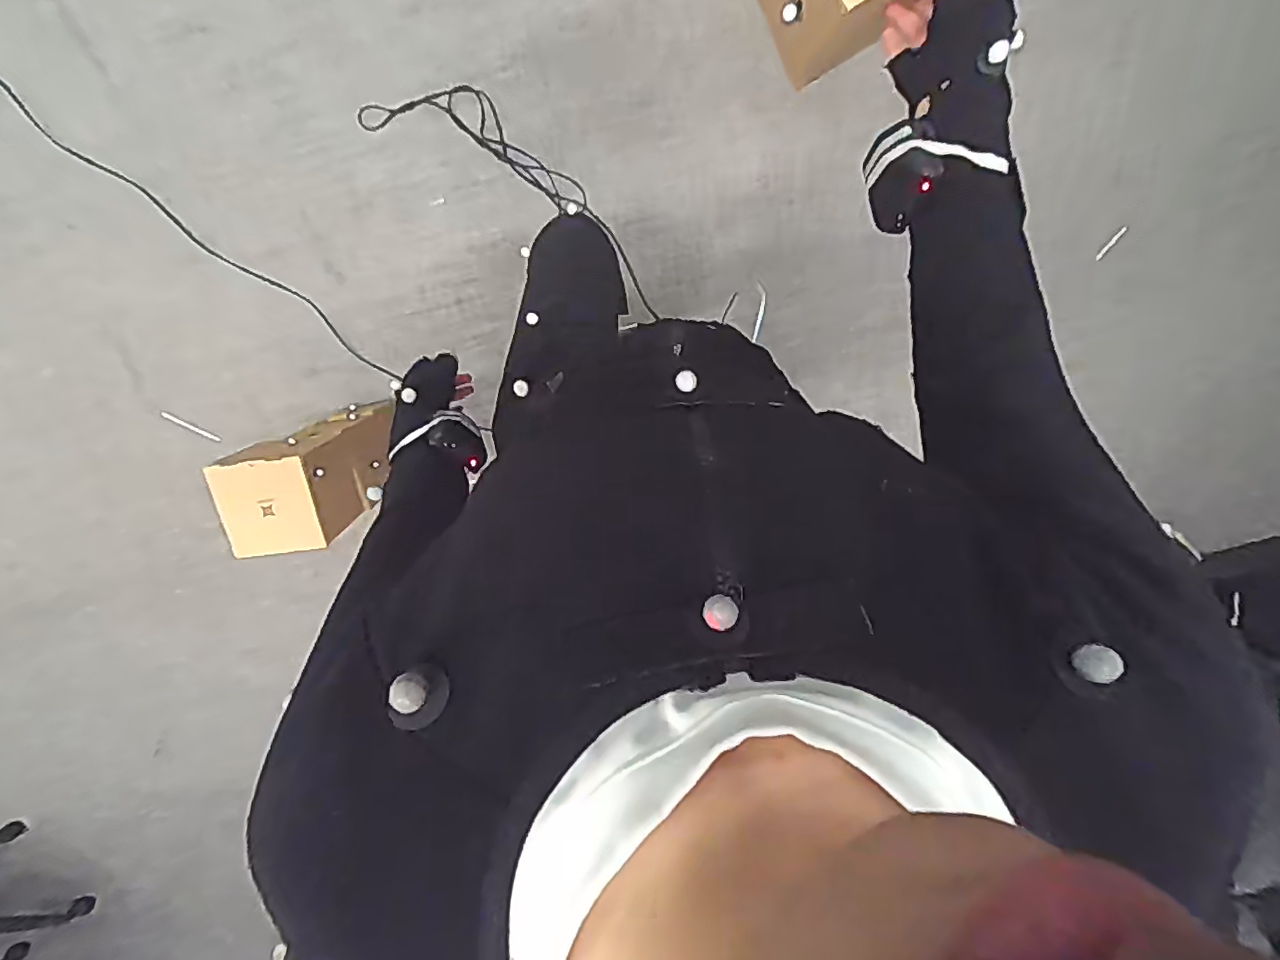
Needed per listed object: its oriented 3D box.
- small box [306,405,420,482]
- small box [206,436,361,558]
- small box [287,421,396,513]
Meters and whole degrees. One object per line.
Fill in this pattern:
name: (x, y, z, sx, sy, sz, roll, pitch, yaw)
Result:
small box: (-0.676, -0.082, 1.342, 0.168, 0.176, 0.179, -14, 107, 3)
small box: (-0.662, 0.027, 1.031, 0.168, 0.176, 0.179, -7, 108, -2)
small box: (-0.666, -0.024, 1.185, 0.168, 0.176, 0.179, -11, 110, -1)
